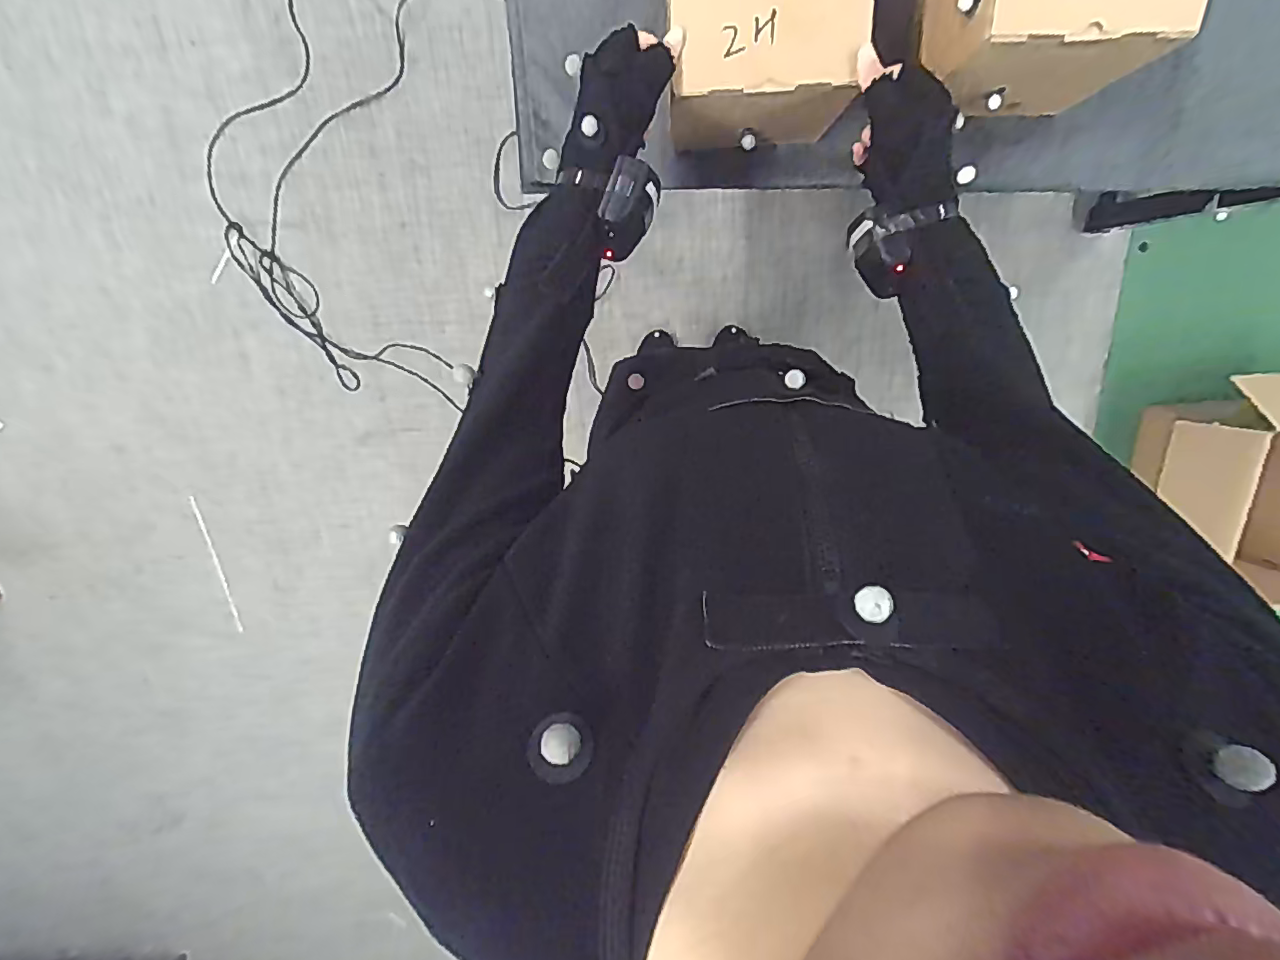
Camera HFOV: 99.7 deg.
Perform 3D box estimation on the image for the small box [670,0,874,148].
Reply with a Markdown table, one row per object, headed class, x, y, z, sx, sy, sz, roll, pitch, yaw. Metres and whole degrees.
| class | x | y | z | sx | sy | sz | roll | pitch | yaw |
| --- | --- | --- | --- | --- | --- | --- | --- | --- | --- |
| small box | 0.112 | -0.441 | 0.512 | 0.168 | 0.176 | 0.179 | -1 | 108 | 4 |
